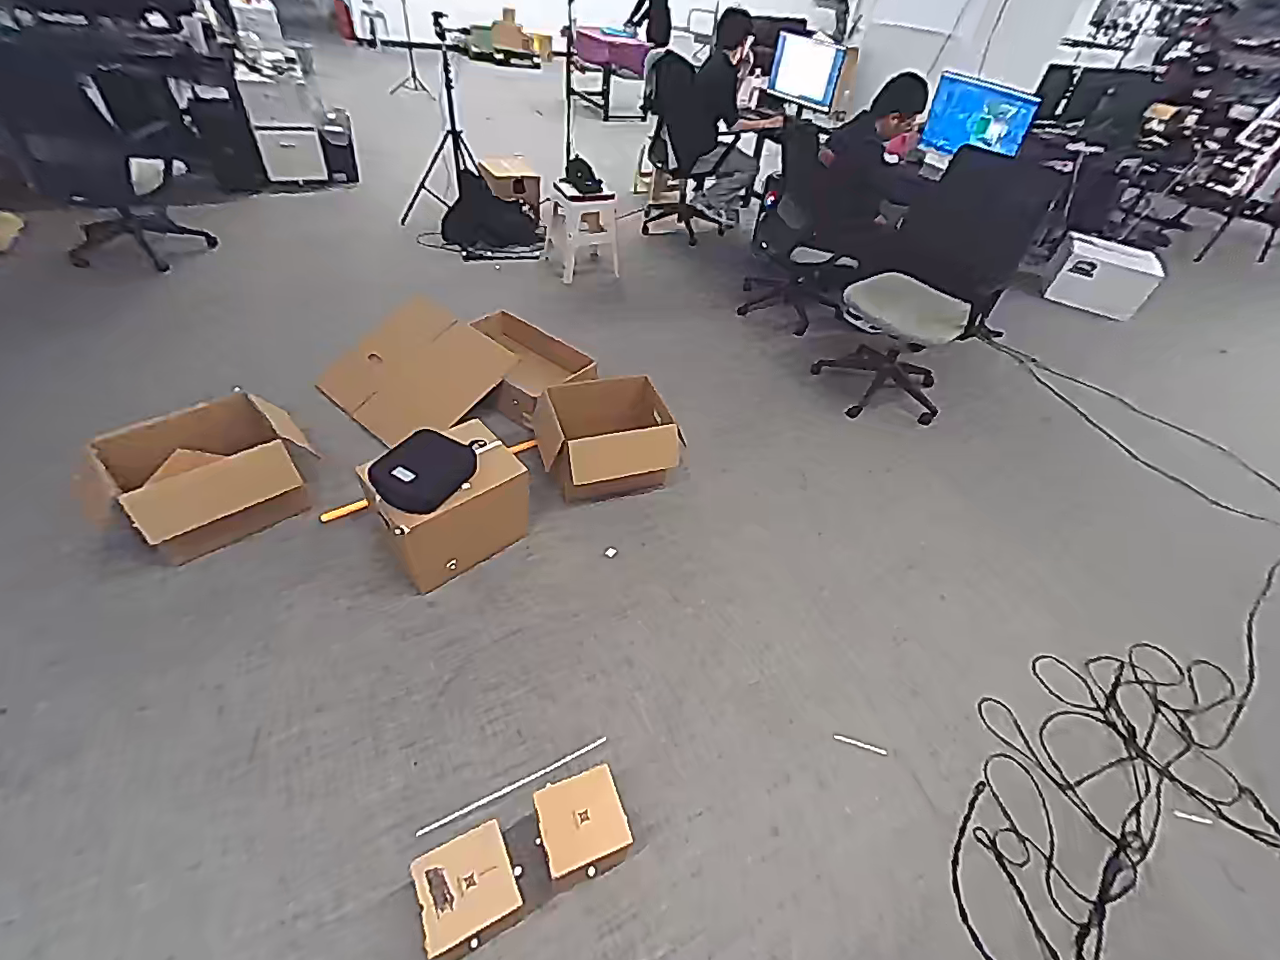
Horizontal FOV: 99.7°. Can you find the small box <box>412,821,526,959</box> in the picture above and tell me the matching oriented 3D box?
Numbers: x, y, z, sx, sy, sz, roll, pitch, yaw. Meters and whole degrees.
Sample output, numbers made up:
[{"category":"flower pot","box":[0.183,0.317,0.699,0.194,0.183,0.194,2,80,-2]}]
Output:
[{"category":"small box","box":[-0.341,0.840,1.097,0.179,0.176,0.168,-16,49,-24]}]

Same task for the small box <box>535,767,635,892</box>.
[{"category":"small box","box":[-0.127,0.773,1.196,0.179,0.176,0.168,-13,48,-19]}]
